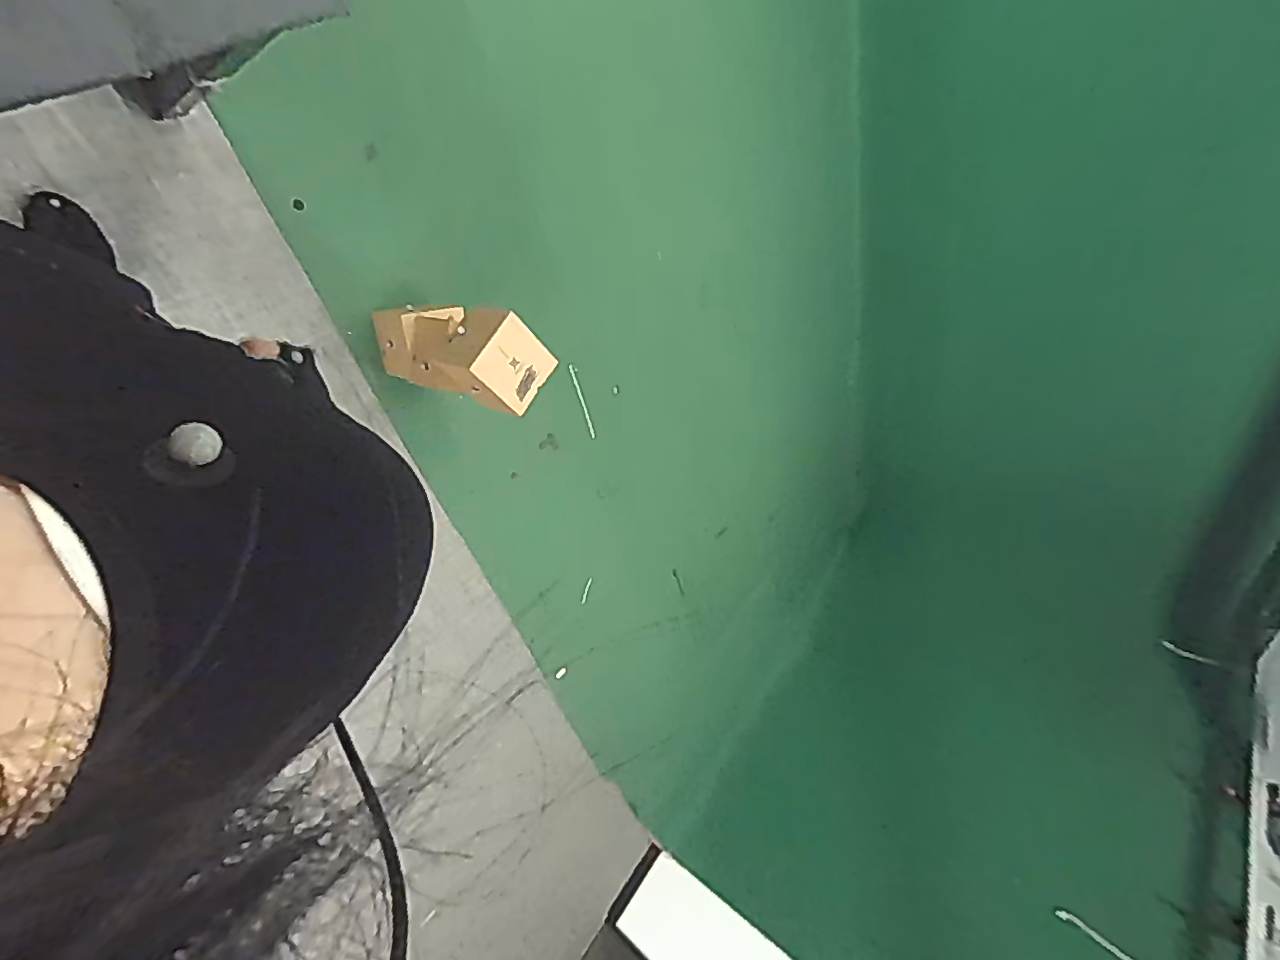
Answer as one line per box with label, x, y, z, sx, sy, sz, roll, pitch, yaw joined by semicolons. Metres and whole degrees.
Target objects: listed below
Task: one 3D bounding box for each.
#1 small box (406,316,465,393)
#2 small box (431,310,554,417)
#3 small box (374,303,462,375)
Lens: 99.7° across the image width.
small box;-0.462;-0.310;1.360;0.179;0.176;0.168;0;106;-51
small box;-0.341;-0.276;1.254;0.168;0.176;0.179;-59;139;-14
small box;-0.586;-0.378;1.445;0.179;0.176;0.168;-27;125;-42
